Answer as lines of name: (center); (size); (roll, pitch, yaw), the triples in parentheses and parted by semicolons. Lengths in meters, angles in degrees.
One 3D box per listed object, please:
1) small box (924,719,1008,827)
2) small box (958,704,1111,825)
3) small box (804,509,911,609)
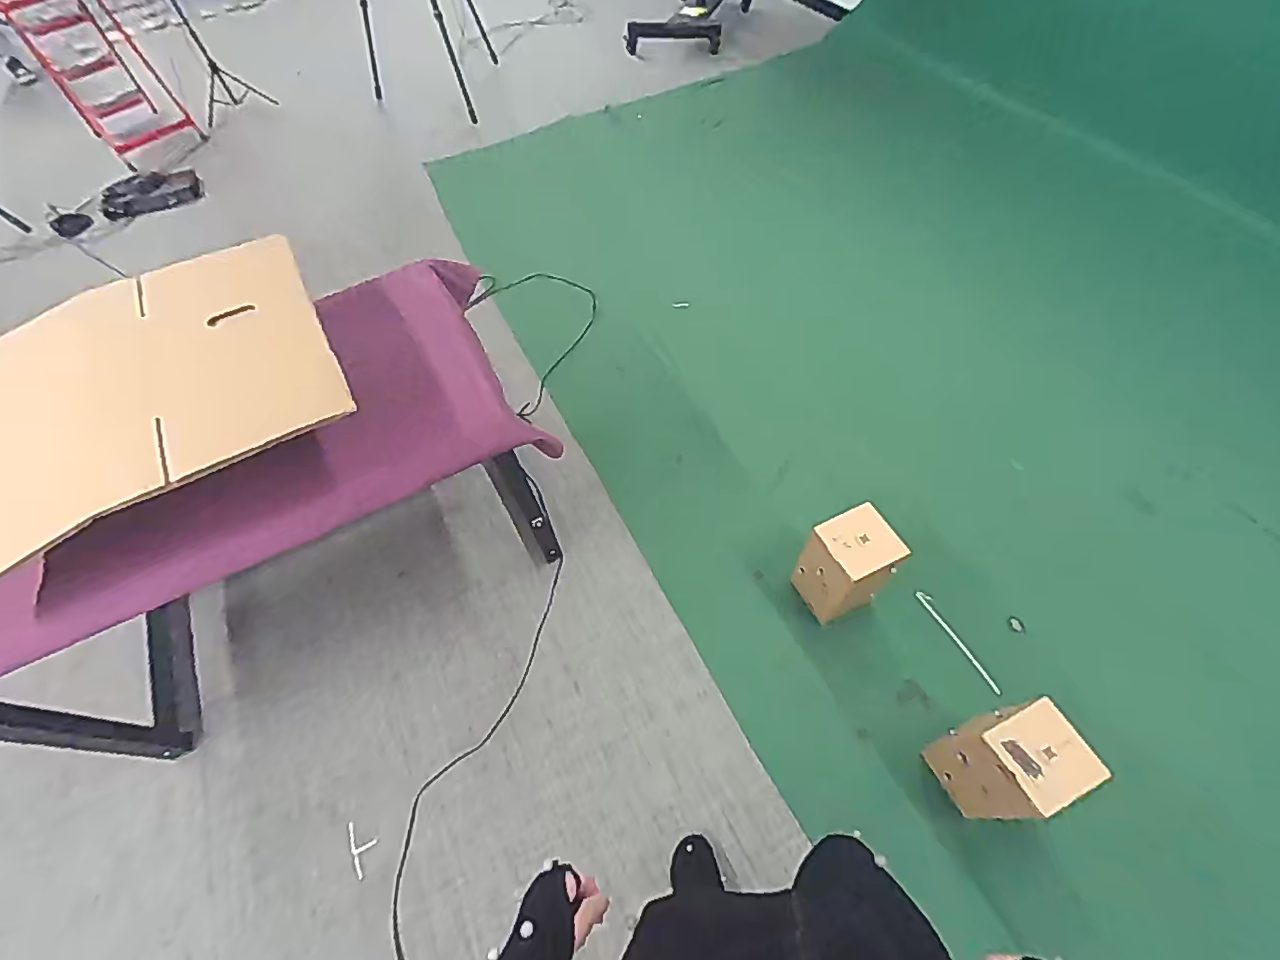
small box: (0.819, 0.689, 1.279); (0.179, 0.176, 0.168); (-24, 60, -10)
small box: (0.810, 0.603, 1.140); (0.179, 0.176, 0.168); (-22, 60, -10)
small box: (0.554, 0.208, 1.407); (0.179, 0.176, 0.168); (-22, 58, -11)
